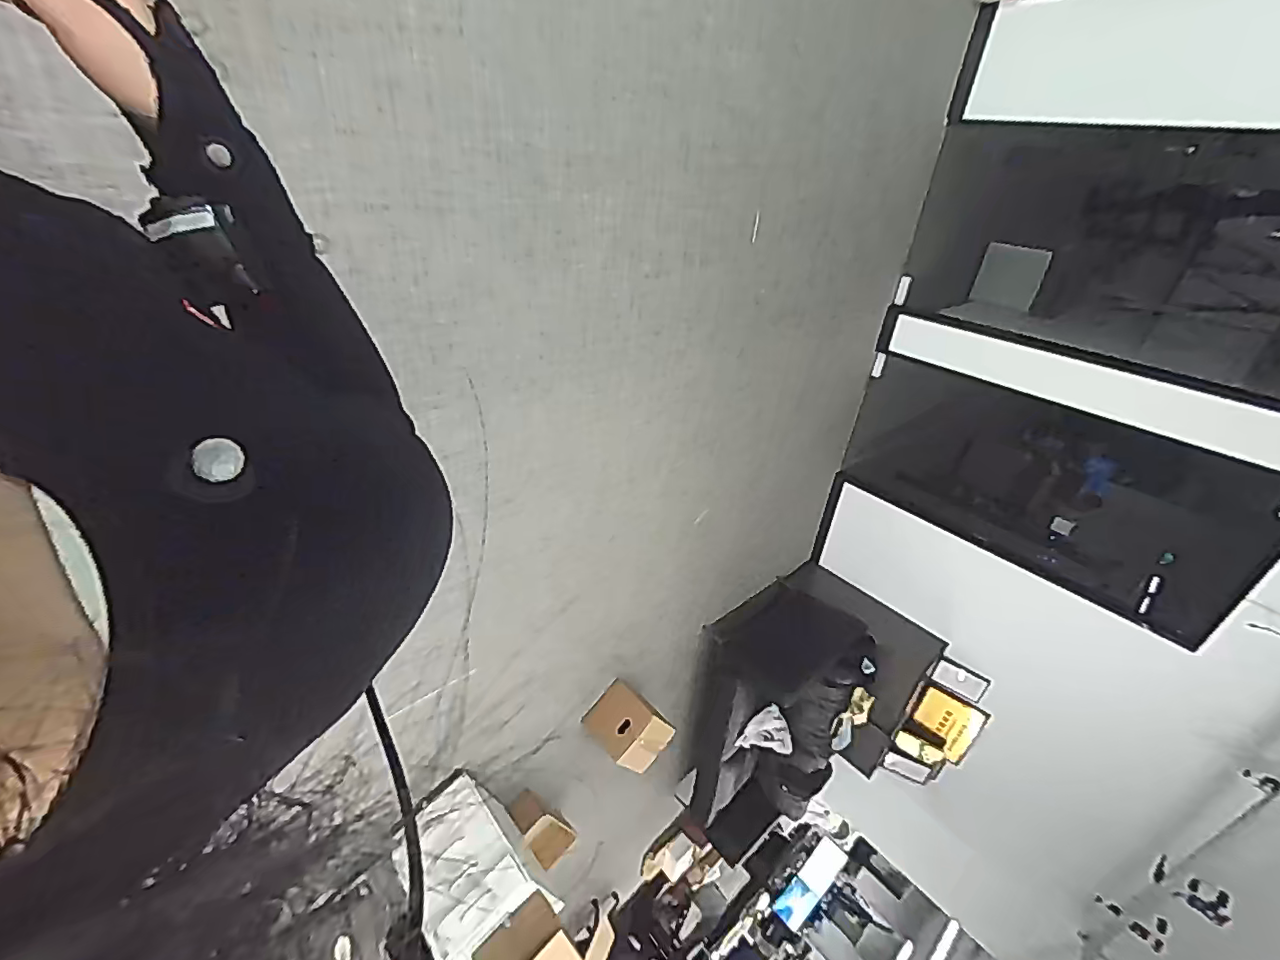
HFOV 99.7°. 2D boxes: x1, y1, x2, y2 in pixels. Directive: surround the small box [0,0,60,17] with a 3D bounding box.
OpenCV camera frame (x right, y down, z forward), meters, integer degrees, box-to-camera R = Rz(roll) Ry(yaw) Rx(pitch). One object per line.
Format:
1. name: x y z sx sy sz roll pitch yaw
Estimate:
1. small box: -0.418 -0.364 0.256 0.168 0.176 0.179 -13 125 -47
